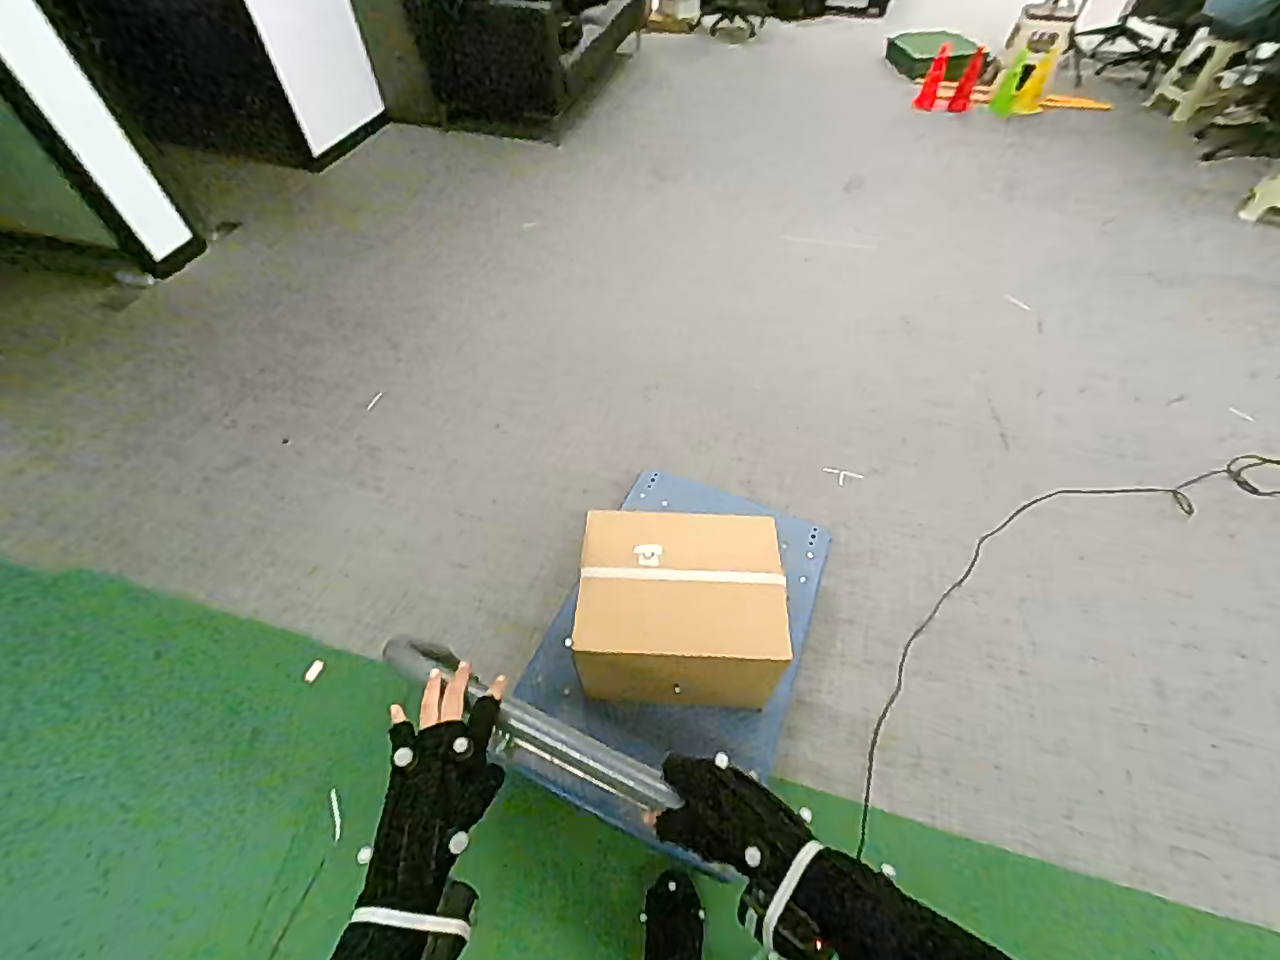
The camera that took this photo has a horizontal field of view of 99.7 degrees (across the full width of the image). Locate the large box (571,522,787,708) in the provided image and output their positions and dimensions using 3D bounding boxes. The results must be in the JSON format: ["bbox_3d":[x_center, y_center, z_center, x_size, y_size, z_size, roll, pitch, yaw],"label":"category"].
[{"bbox_3d":[0.080,0.304,1.196,0.408,0.320,0.320,1,51,3],"label":"large box"}]
